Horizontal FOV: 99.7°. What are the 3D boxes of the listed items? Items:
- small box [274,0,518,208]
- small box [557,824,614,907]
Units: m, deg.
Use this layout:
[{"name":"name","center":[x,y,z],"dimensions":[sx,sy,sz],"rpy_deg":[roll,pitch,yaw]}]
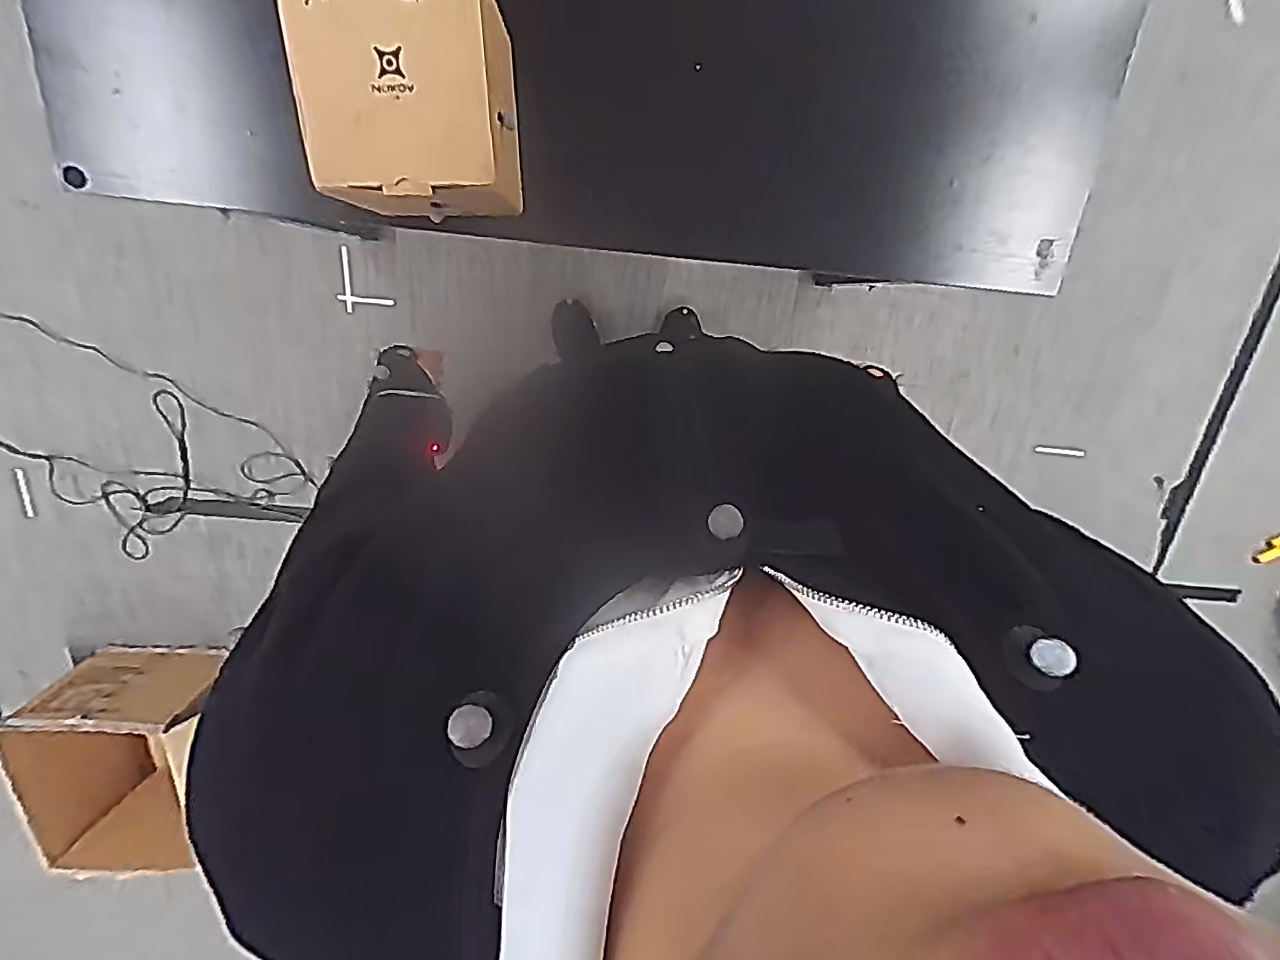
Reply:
[{"name":"small box","center":[-0.221,-0.375,0.537],"dimensions":[0.168,0.176,0.179],"rpy_deg":[-2,109,-3]},{"name":"small box","center":[-0.183,1.308,1.840],"dimensions":[0.179,0.176,0.168],"rpy_deg":[6,106,-4]}]
